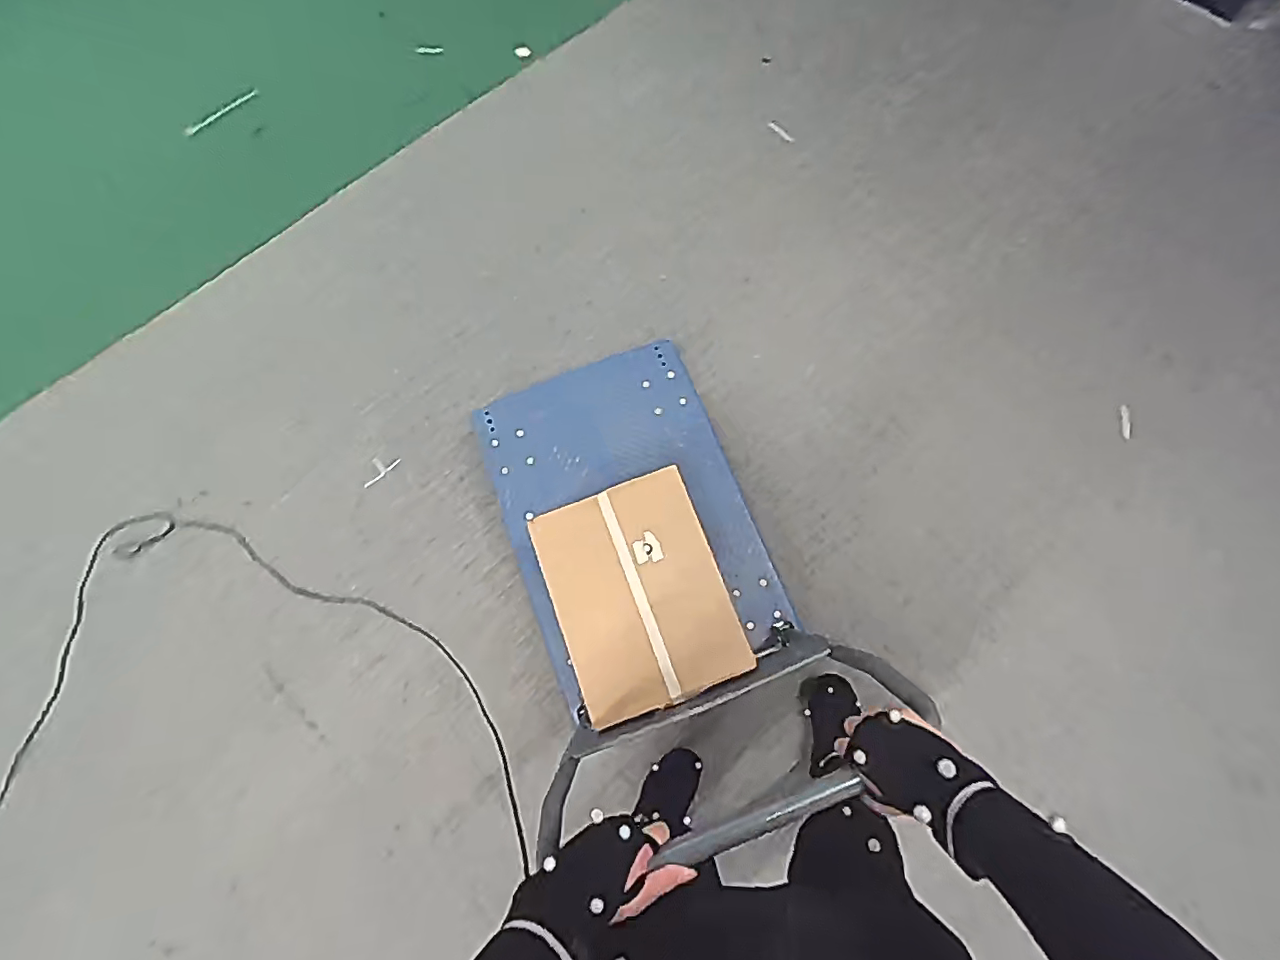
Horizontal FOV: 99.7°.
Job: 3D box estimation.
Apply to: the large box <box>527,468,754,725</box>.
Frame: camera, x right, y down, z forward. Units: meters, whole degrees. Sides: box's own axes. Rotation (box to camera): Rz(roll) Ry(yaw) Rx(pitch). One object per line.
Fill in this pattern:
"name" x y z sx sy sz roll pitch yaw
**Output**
"large box" 0.002 0.242 1.155 0.320 0.320 0.408 -21 76 -3
